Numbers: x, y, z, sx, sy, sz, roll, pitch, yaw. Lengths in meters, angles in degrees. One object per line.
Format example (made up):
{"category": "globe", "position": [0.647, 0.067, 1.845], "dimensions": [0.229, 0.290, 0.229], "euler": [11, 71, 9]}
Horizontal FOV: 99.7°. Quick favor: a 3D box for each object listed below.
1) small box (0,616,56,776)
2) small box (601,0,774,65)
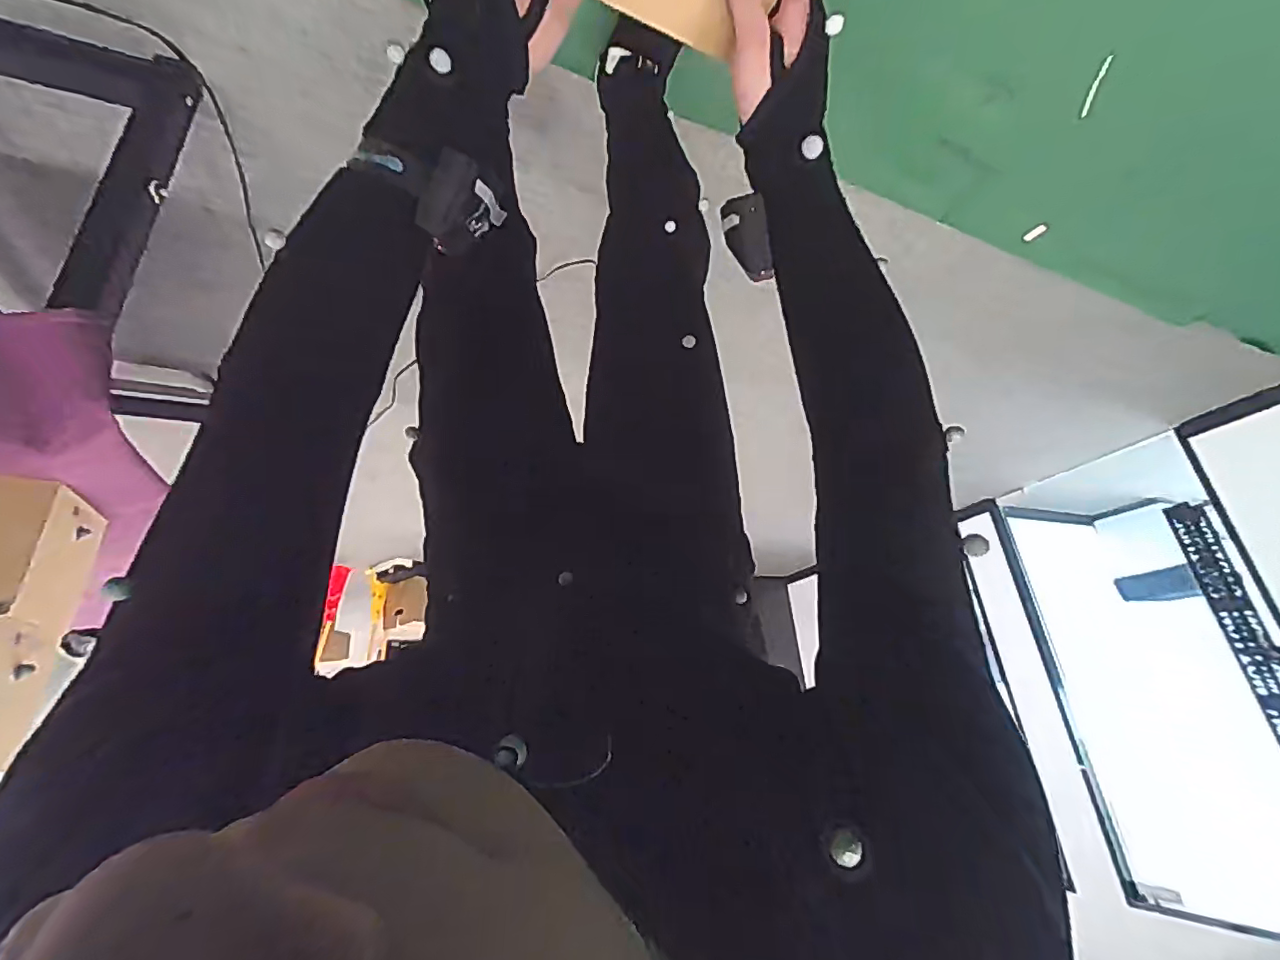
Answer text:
{"category": "small box", "position": [-0.817, 0.242, 0.592], "dimensions": [0.179, 0.176, 0.168], "euler": [7, 155, -24]}
{"category": "small box", "position": [0.035, -0.446, 0.359], "dimensions": [0.168, 0.176, 0.179], "euler": [5, 156, -25]}
